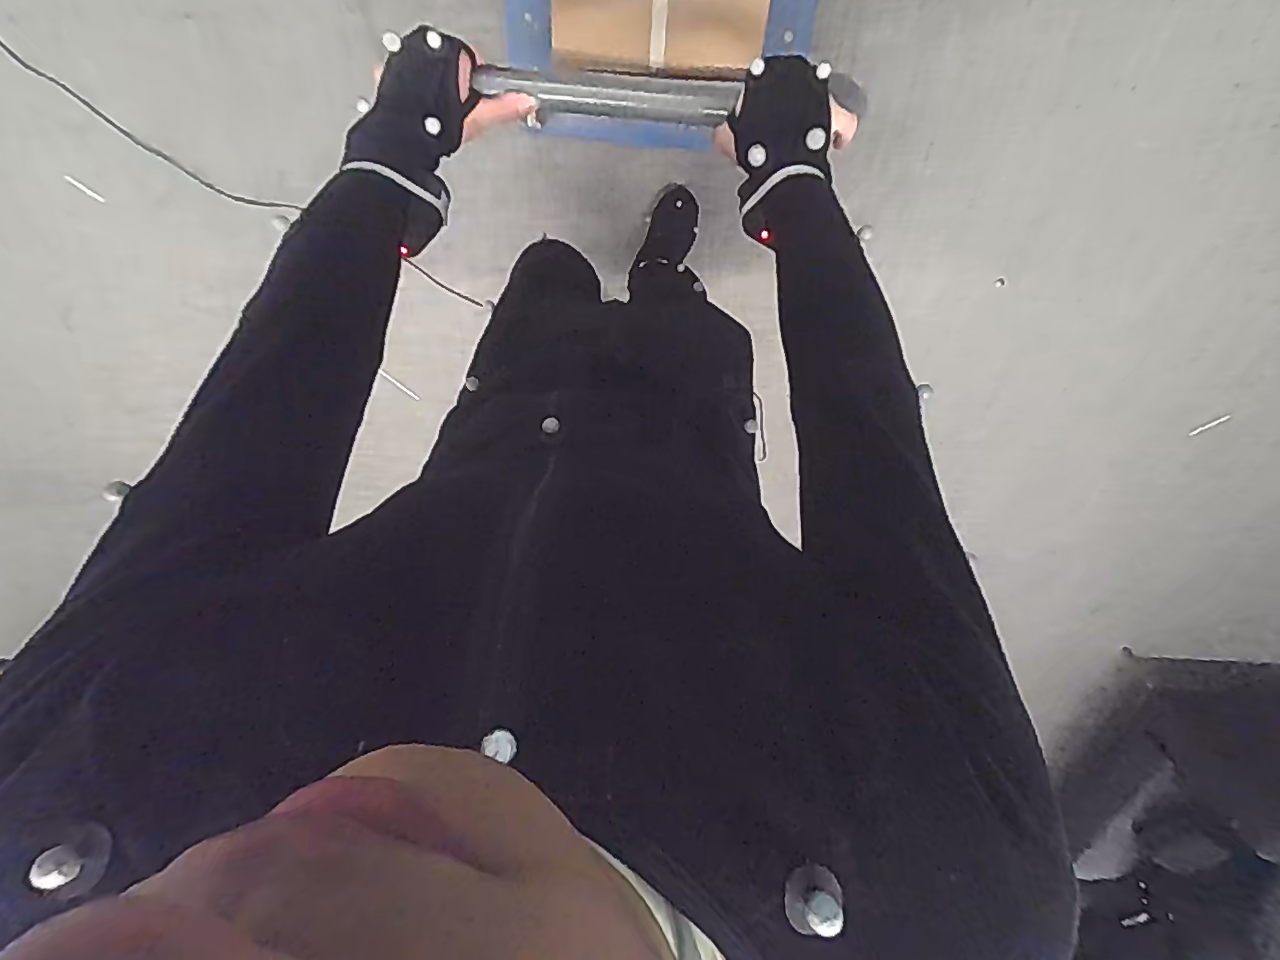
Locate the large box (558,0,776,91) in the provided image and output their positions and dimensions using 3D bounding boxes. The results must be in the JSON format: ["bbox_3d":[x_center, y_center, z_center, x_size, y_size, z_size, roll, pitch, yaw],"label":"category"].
[{"bbox_3d":[0.054,-0.858,0.833,0.320,0.320,0.408,5,123,1],"label":"large box"}]
